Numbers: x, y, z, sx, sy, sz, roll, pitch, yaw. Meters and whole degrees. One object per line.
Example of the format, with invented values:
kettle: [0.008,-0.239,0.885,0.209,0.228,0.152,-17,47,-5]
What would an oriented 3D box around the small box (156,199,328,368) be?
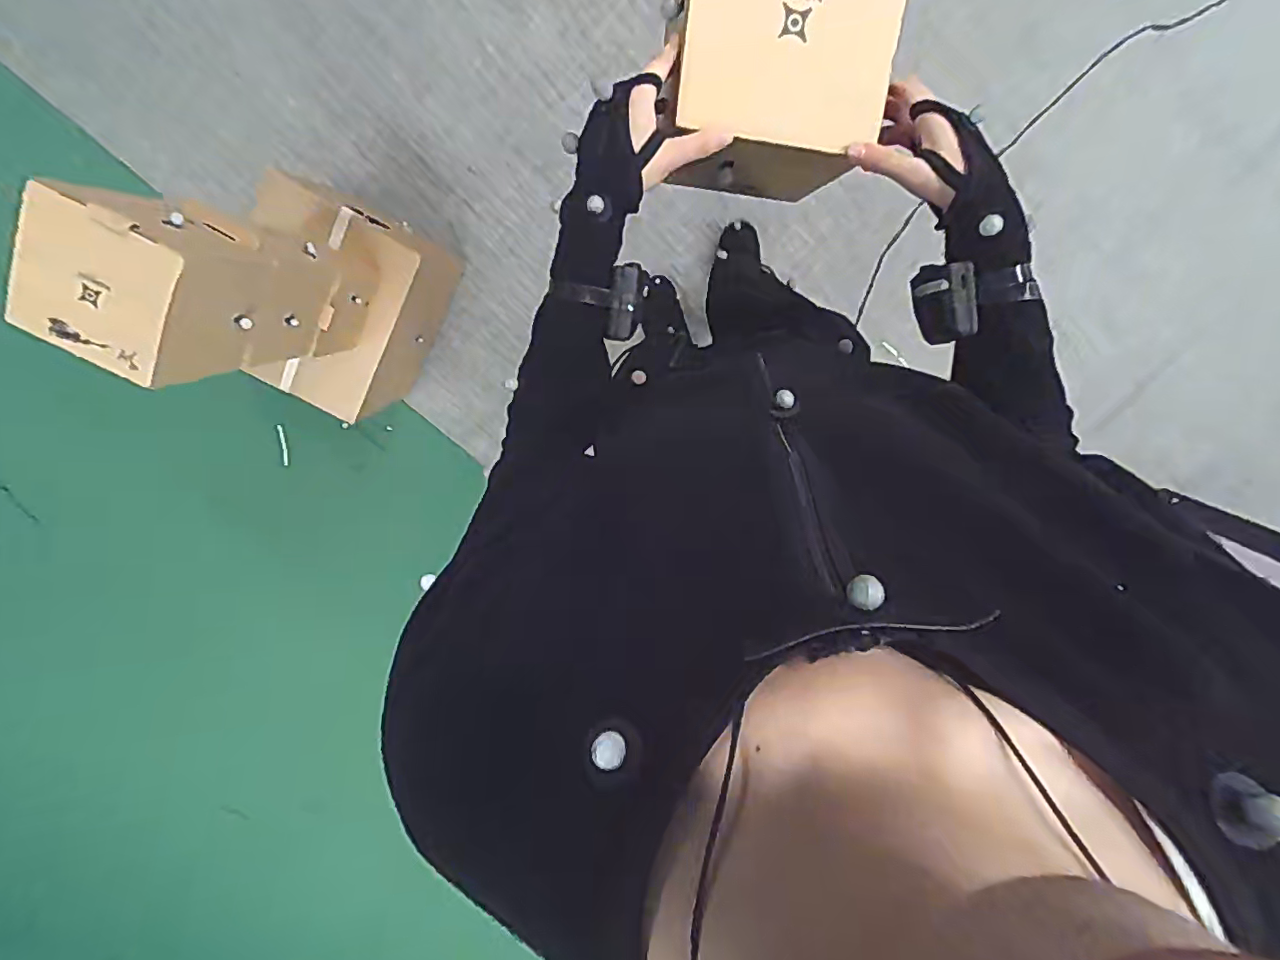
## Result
small box: [-0.625,-0.300,0.844,0.168,0.176,0.179,28,107,-10]

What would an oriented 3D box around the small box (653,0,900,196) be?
small box: [0.106,-0.371,0.476,0.168,0.176,0.179,5,103,-6]

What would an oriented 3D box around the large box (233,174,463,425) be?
large box: [-0.660,-0.402,1.240,0.320,0.320,0.408,29,108,-9]

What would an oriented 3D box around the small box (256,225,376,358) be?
small box: [-0.626,-0.350,1.000,0.179,0.176,0.168,29,106,-10]

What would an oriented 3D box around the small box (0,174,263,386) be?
small box: [-0.627,-0.245,0.689,0.168,0.176,0.179,29,105,-10]
